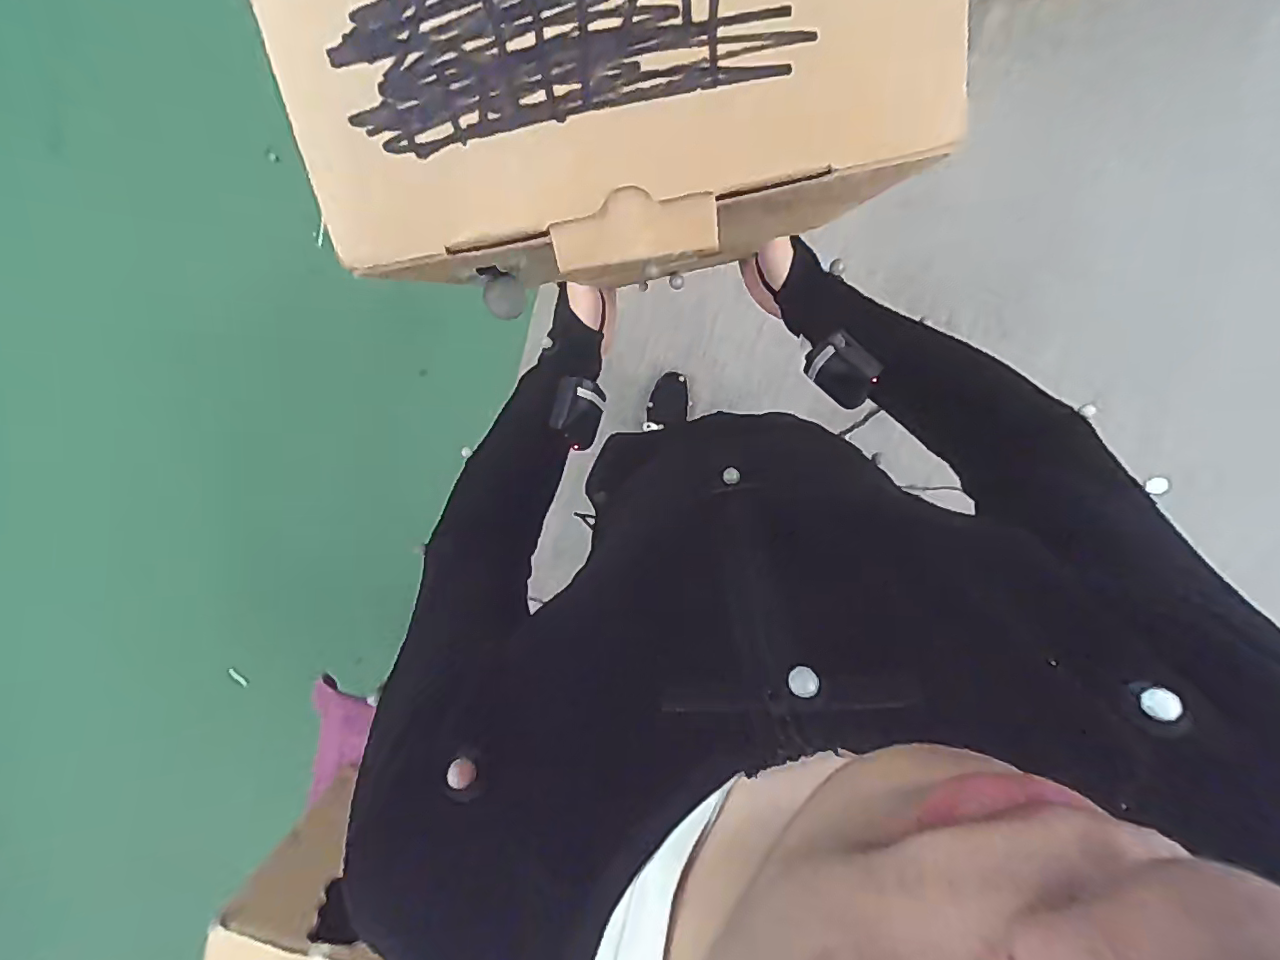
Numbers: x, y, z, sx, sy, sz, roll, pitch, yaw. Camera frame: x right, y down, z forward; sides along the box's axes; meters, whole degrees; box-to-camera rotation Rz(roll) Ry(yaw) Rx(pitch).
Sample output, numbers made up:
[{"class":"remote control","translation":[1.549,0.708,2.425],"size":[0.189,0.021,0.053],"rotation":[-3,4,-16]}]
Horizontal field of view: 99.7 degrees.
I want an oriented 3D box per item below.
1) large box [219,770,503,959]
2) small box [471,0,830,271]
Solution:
[{"class":"large box","translation":[-0.459,0.800,0.914],"size":[0.320,0.320,0.408],"rotation":[16,100,-1]},{"class":"small box","translation":[0.009,-0.240,0.338],"size":[0.168,0.176,0.179],"rotation":[-9,108,8]}]
